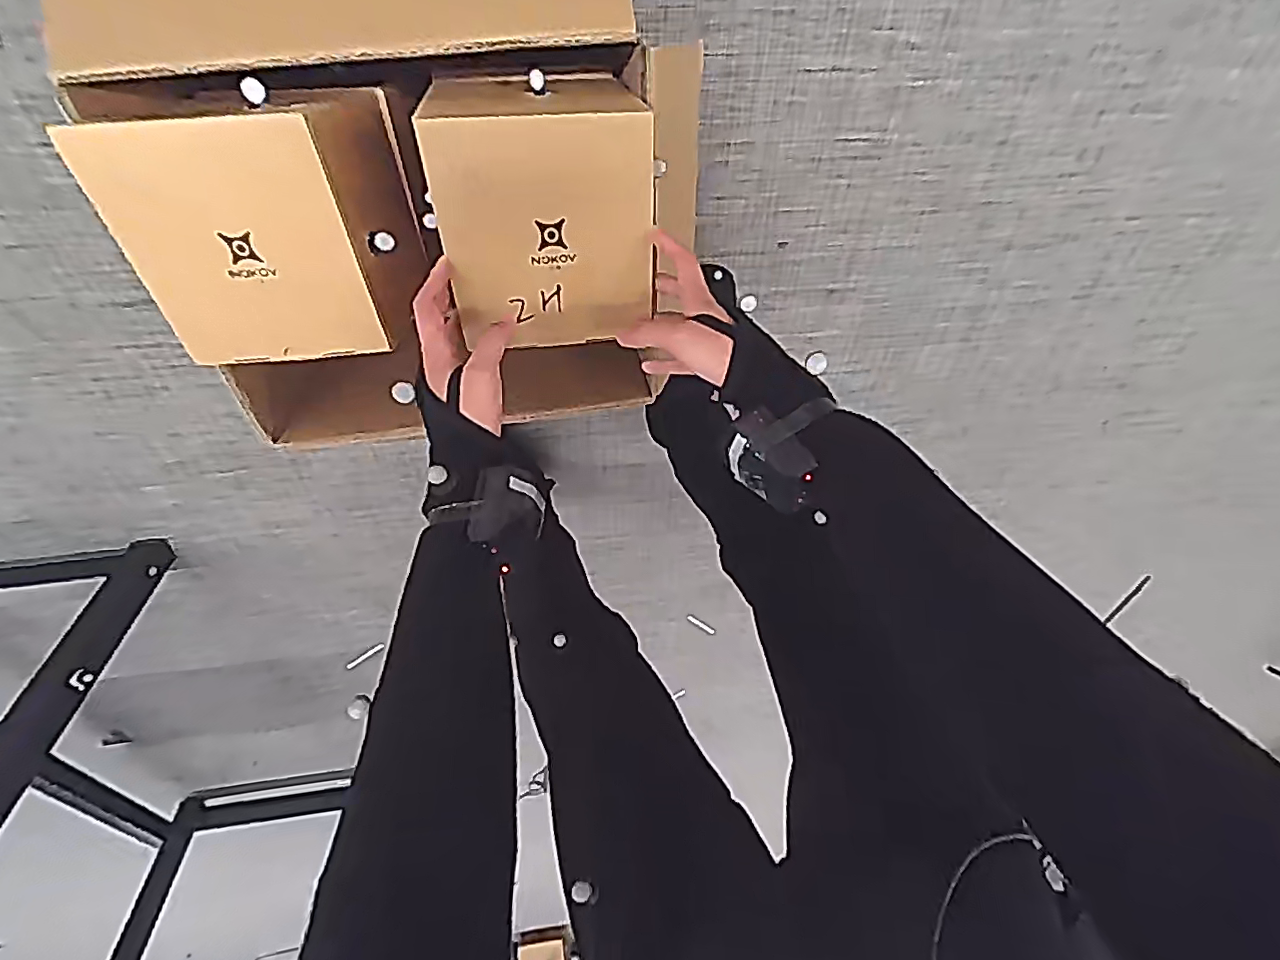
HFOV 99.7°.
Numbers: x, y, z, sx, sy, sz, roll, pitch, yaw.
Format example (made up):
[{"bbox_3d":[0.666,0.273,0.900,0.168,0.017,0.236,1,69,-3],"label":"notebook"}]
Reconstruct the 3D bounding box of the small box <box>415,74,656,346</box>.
[{"bbox_3d":[-0.084,-0.241,0.475,0.168,0.176,0.179,-6,134,-7],"label":"small box"}]
